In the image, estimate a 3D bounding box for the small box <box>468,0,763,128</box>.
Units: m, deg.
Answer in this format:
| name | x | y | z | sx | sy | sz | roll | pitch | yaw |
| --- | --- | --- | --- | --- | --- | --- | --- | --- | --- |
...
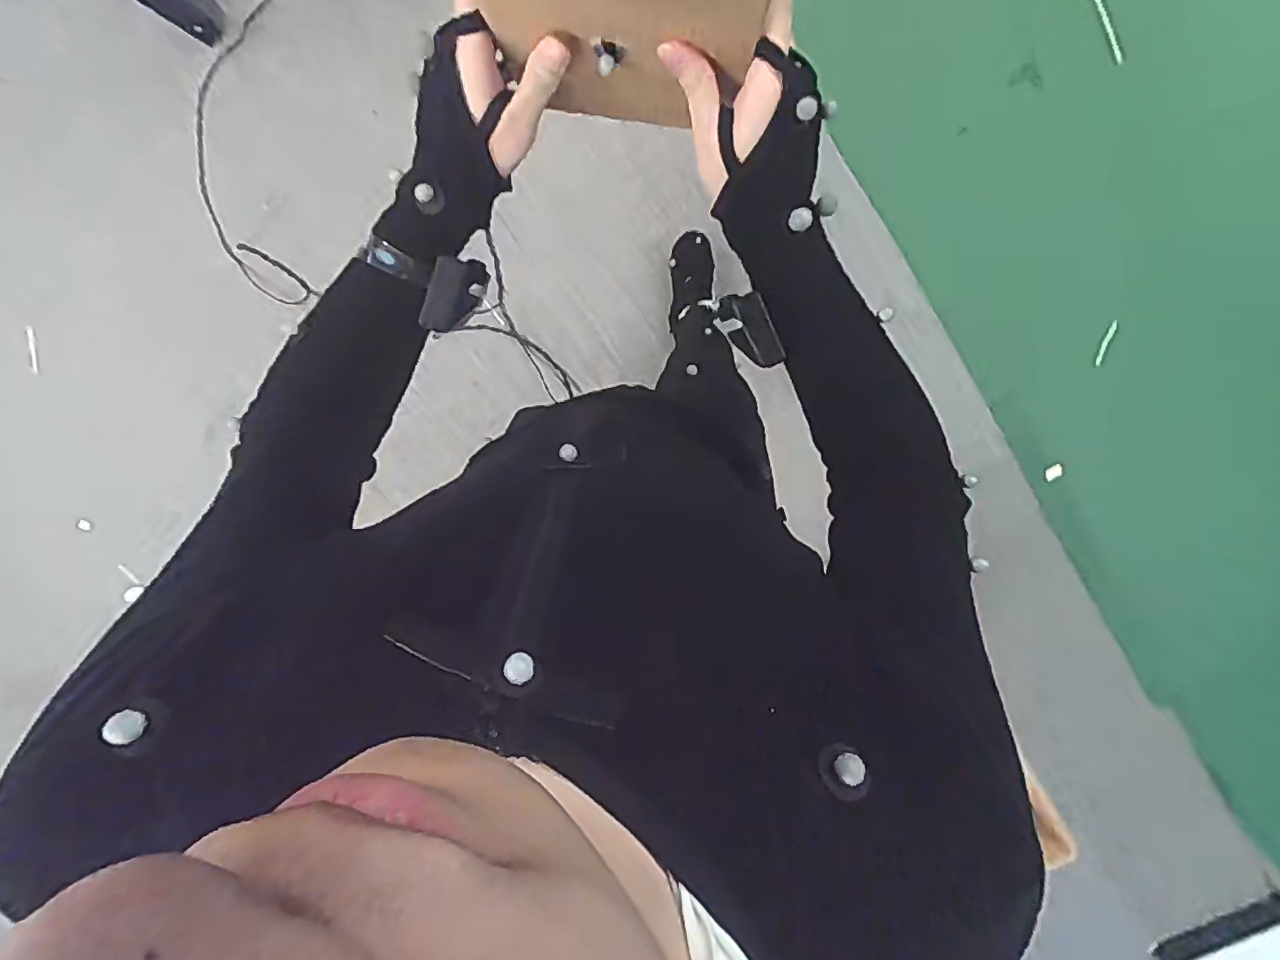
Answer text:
| name | x | y | z | sx | sy | sz | roll | pitch | yaw |
| --- | --- | --- | --- | --- | --- | --- | --- | --- | --- |
| small box | -0.004 | -0.358 | 0.348 | 0.179 | 0.176 | 0.168 | 9 | 99 | 2 |
